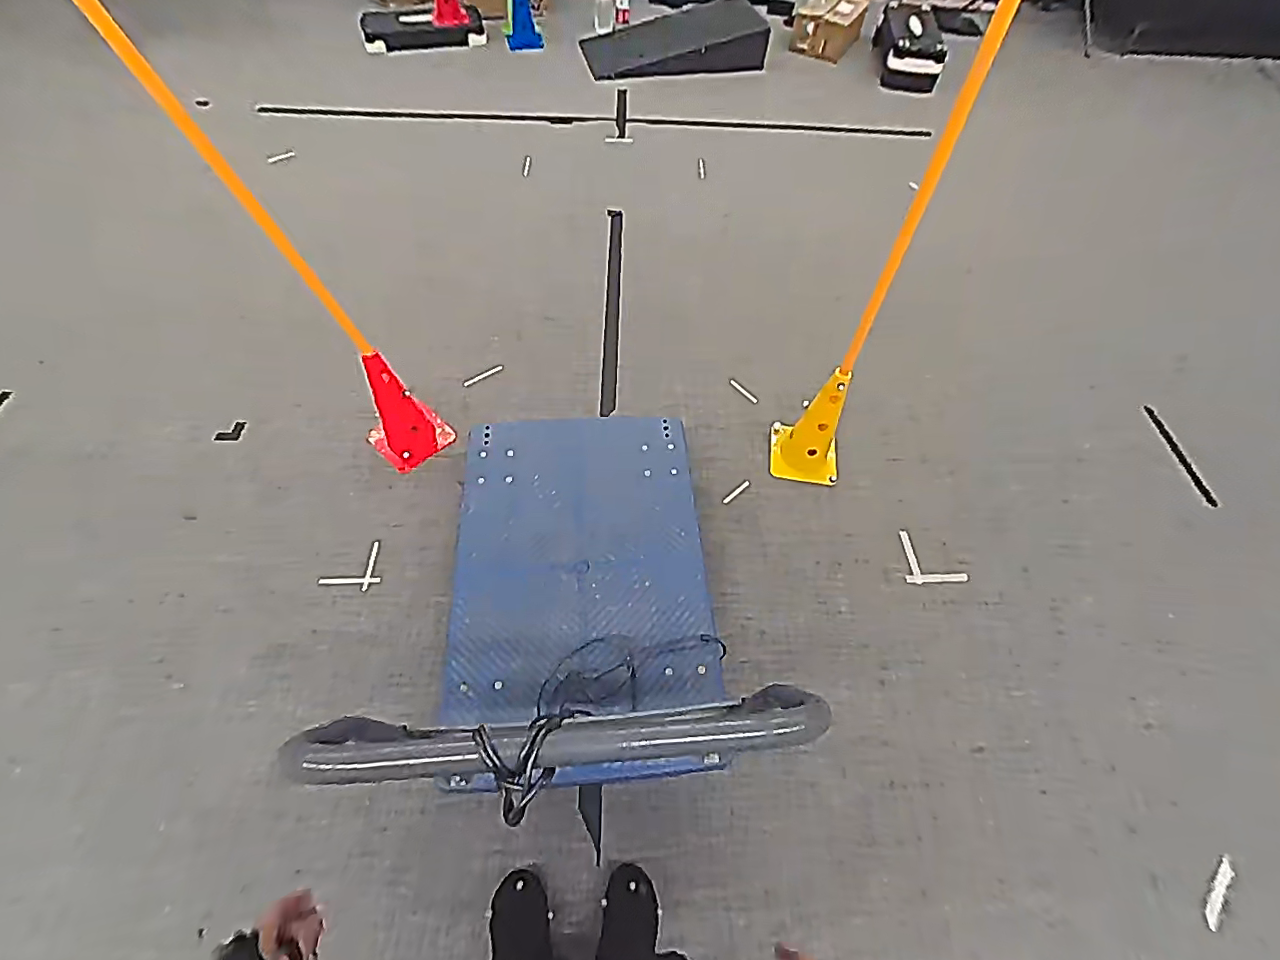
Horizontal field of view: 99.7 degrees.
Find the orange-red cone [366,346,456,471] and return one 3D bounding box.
[{"bbox_3d":[-0.671,-0.224,1.482,0.198,0.360,0.199,41,63,20],"label":"orange-red cone"}]
